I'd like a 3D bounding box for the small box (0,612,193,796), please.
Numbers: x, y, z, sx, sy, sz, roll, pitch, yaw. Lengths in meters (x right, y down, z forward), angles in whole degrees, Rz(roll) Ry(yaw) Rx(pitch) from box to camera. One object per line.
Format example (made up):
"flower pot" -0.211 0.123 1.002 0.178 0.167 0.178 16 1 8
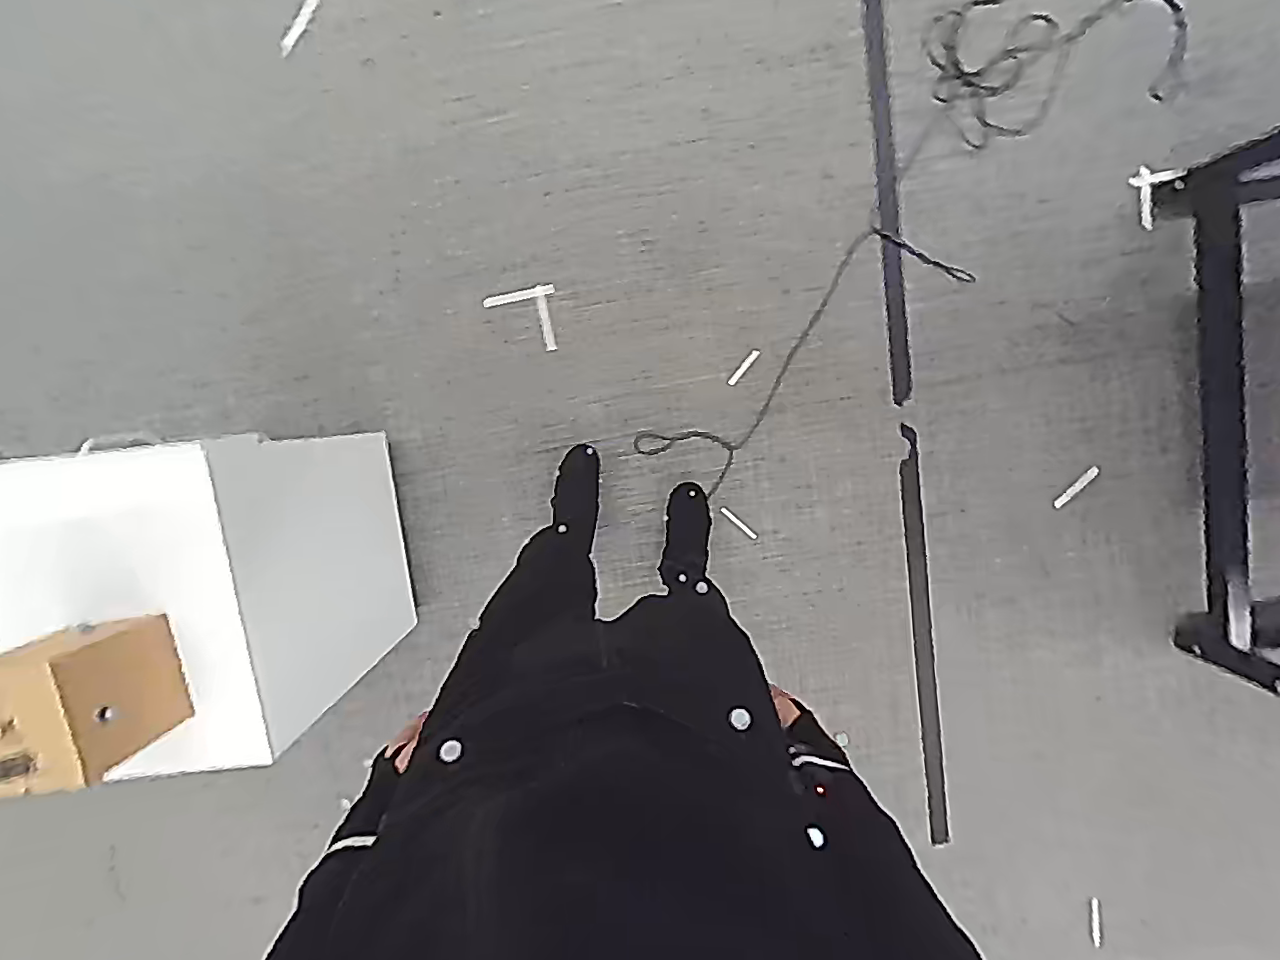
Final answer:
"small box" -0.794 0.310 0.772 0.168 0.176 0.179 -9 97 2
